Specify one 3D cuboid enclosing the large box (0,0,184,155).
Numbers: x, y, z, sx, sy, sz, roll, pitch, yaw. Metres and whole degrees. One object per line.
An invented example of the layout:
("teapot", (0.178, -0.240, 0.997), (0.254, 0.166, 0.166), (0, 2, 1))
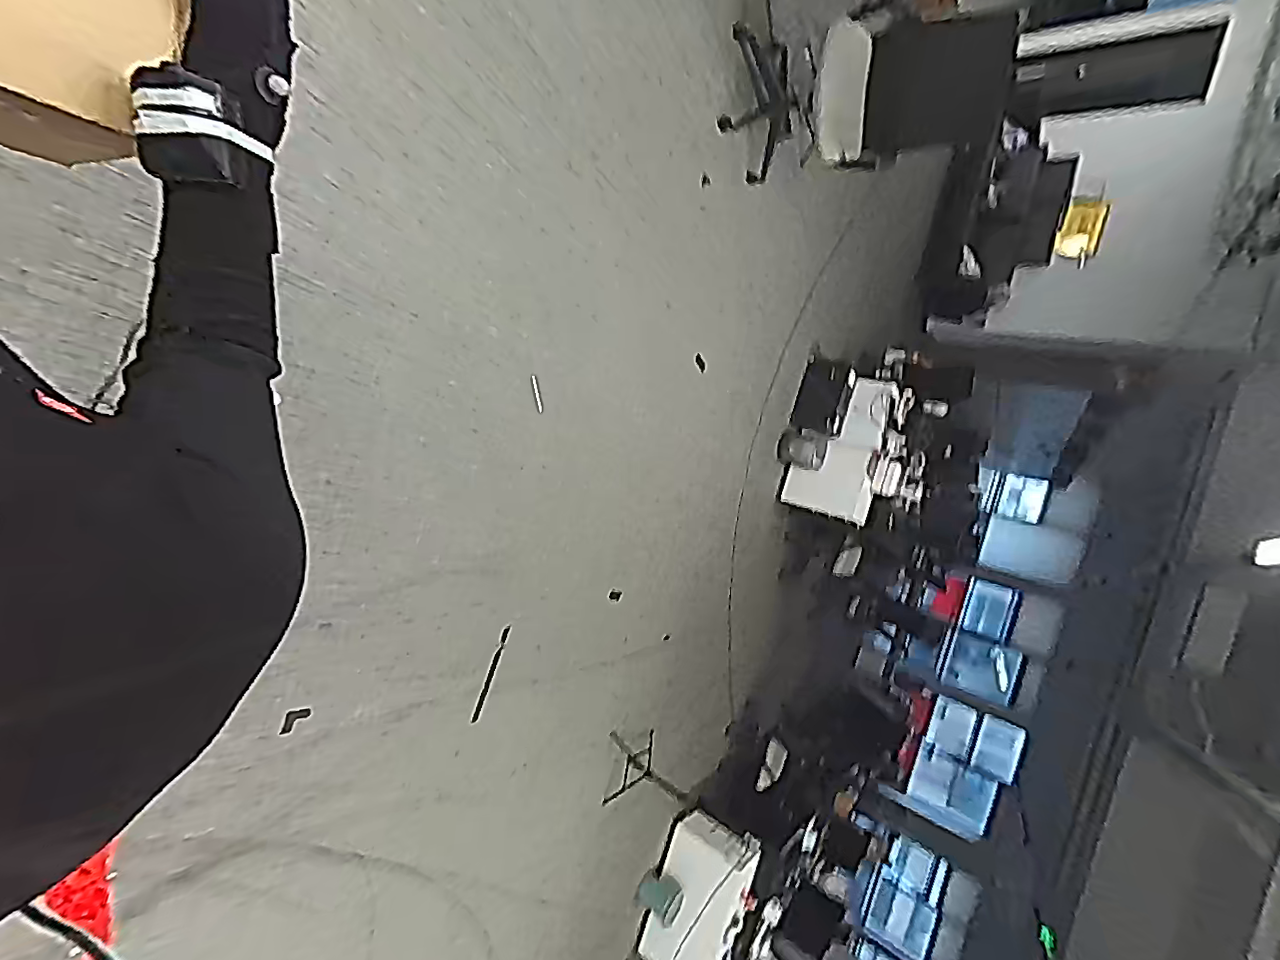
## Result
("large box", (-0.538, -0.425, 0.279), (0.408, 0.320, 0.320), (-3, 109, -58))
